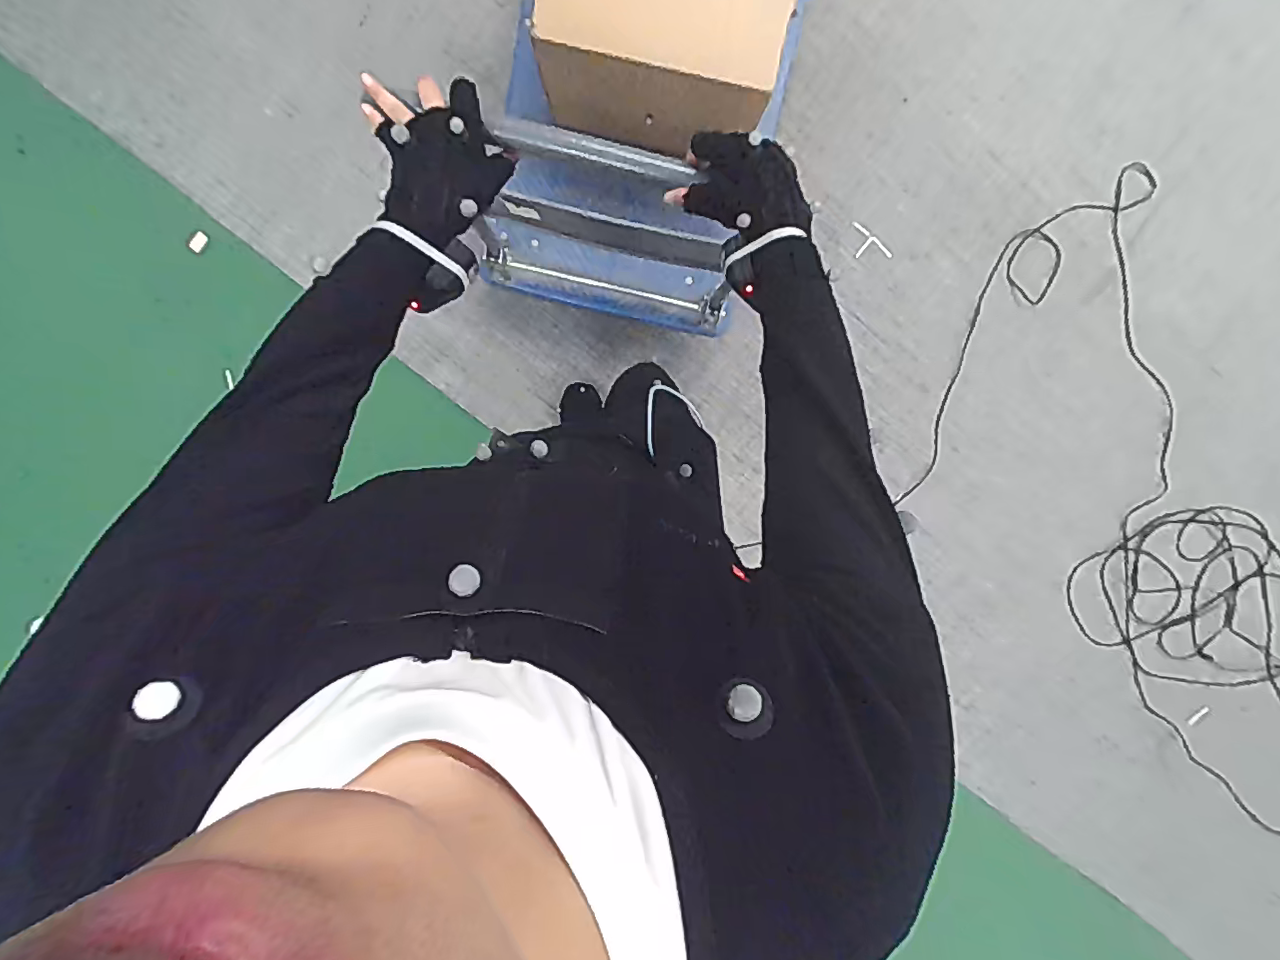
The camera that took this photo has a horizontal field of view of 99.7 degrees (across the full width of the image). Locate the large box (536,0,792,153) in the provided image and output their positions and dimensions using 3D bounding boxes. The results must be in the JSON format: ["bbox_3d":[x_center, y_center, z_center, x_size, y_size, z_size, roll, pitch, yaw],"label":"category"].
[{"bbox_3d":[0.053,-0.857,0.996,0.408,0.320,0.320,11,100,-3],"label":"large box"}]
